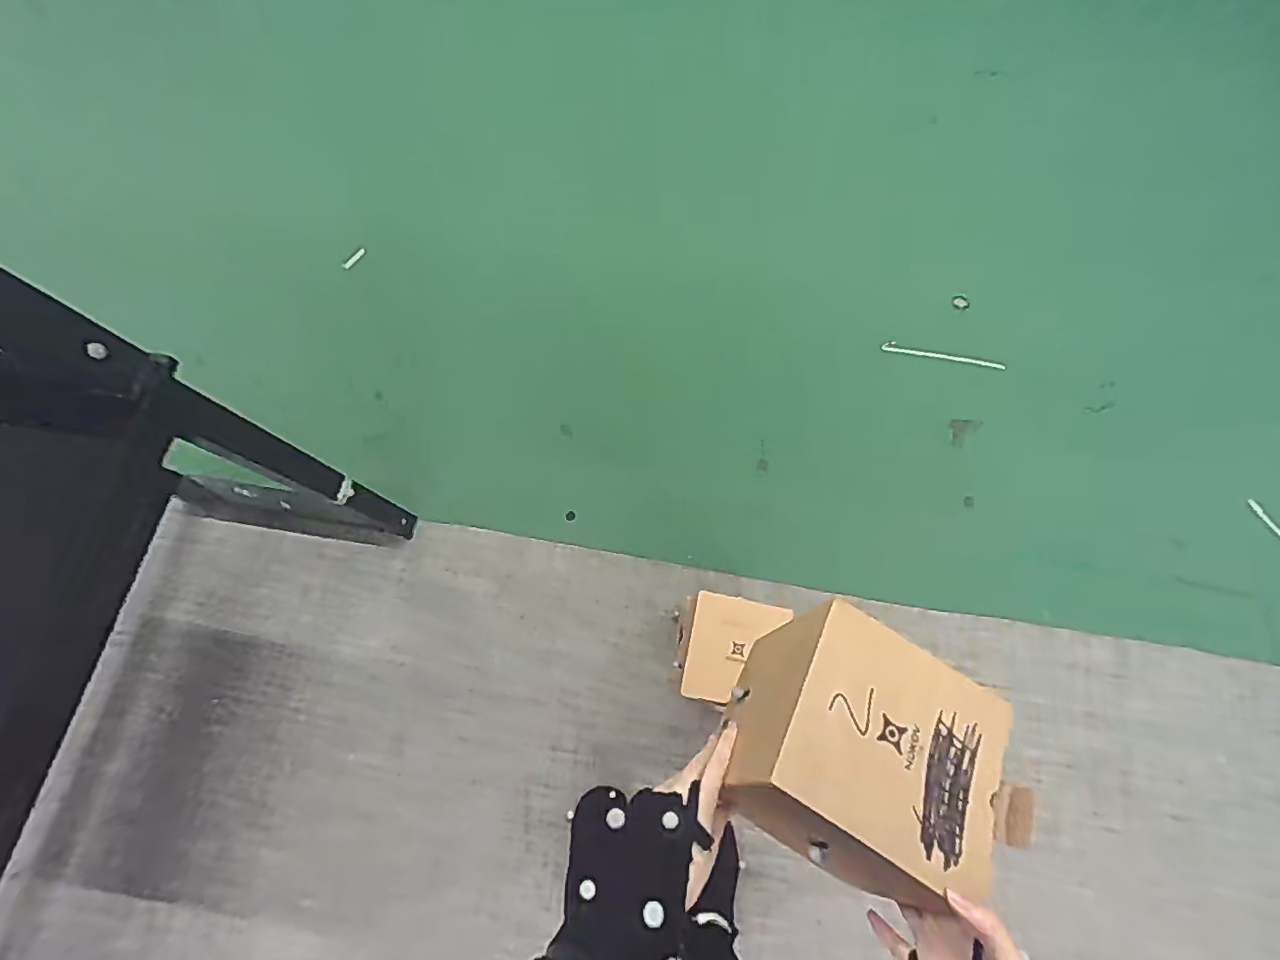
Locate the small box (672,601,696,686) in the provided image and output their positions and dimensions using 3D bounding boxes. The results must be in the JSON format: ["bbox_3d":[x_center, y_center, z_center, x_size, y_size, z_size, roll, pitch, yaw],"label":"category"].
[{"bbox_3d":[0.167,0.356,1.106,0.179,0.176,0.168,12,73,4],"label":"small box"}]

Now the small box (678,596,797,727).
[{"bbox_3d":[0.163,0.314,0.950,0.168,0.176,0.179,11,72,3],"label":"small box"}]
